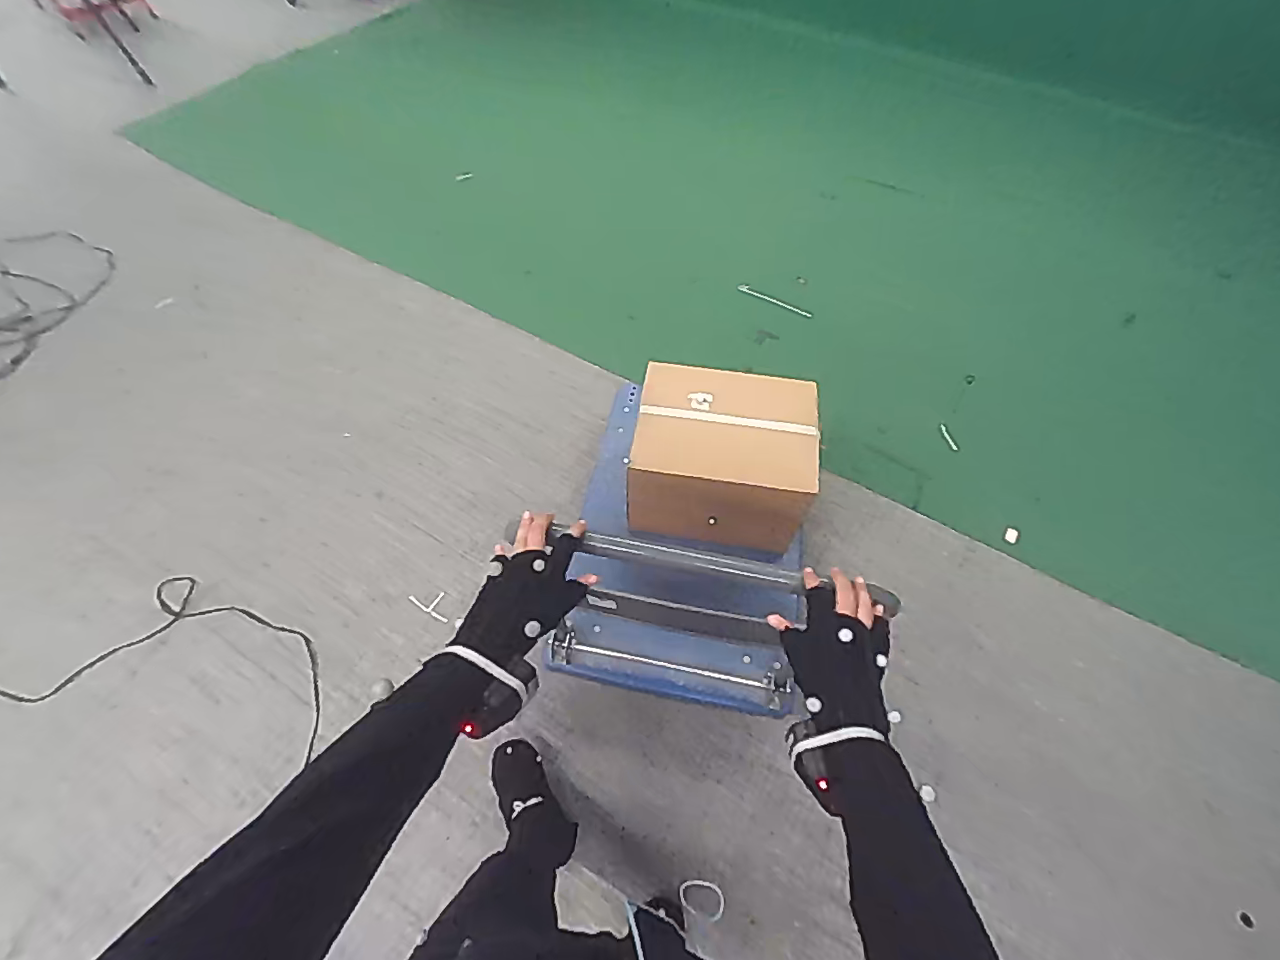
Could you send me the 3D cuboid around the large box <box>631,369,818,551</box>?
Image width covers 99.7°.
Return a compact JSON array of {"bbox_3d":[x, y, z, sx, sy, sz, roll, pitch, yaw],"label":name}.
[{"bbox_3d":[0.199,-0.041,1.349,0.408,0.320,0.320,8,58,5],"label":"large box"}]
